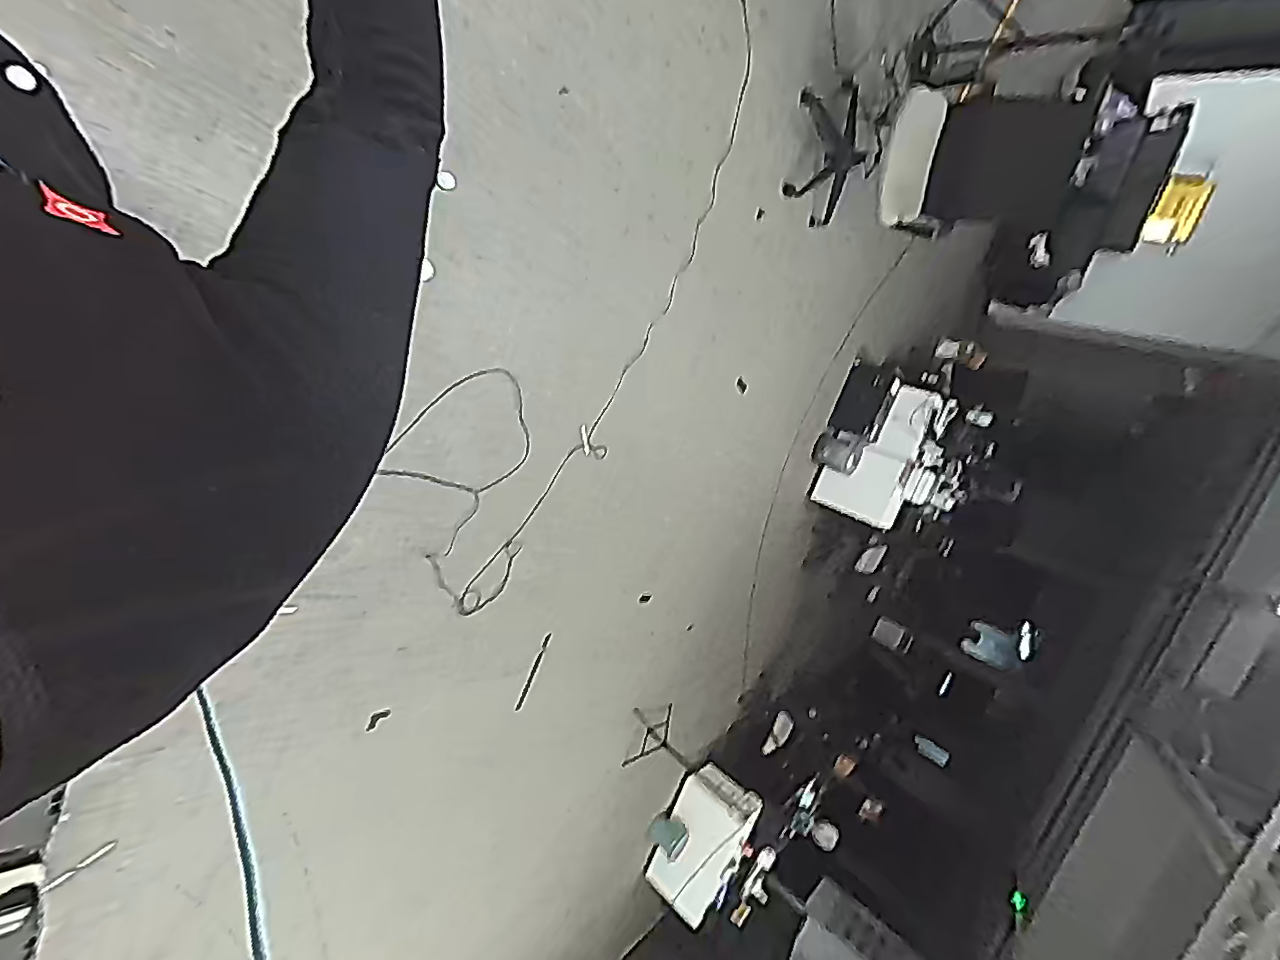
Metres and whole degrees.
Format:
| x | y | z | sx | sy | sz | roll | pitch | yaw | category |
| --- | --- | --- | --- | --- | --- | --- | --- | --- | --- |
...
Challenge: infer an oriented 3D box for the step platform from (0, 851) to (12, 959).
| x | y | z | sx | sy | sz | roll | pitch | yaw | category |
| --- | --- | --- | --- | --- | --- | --- | --- | --- | --- |
| -1.635 | 0.968 | 0.954 | 0.684 | 0.204 | 0.286 | 9 | 103 | -52 | step platform |
